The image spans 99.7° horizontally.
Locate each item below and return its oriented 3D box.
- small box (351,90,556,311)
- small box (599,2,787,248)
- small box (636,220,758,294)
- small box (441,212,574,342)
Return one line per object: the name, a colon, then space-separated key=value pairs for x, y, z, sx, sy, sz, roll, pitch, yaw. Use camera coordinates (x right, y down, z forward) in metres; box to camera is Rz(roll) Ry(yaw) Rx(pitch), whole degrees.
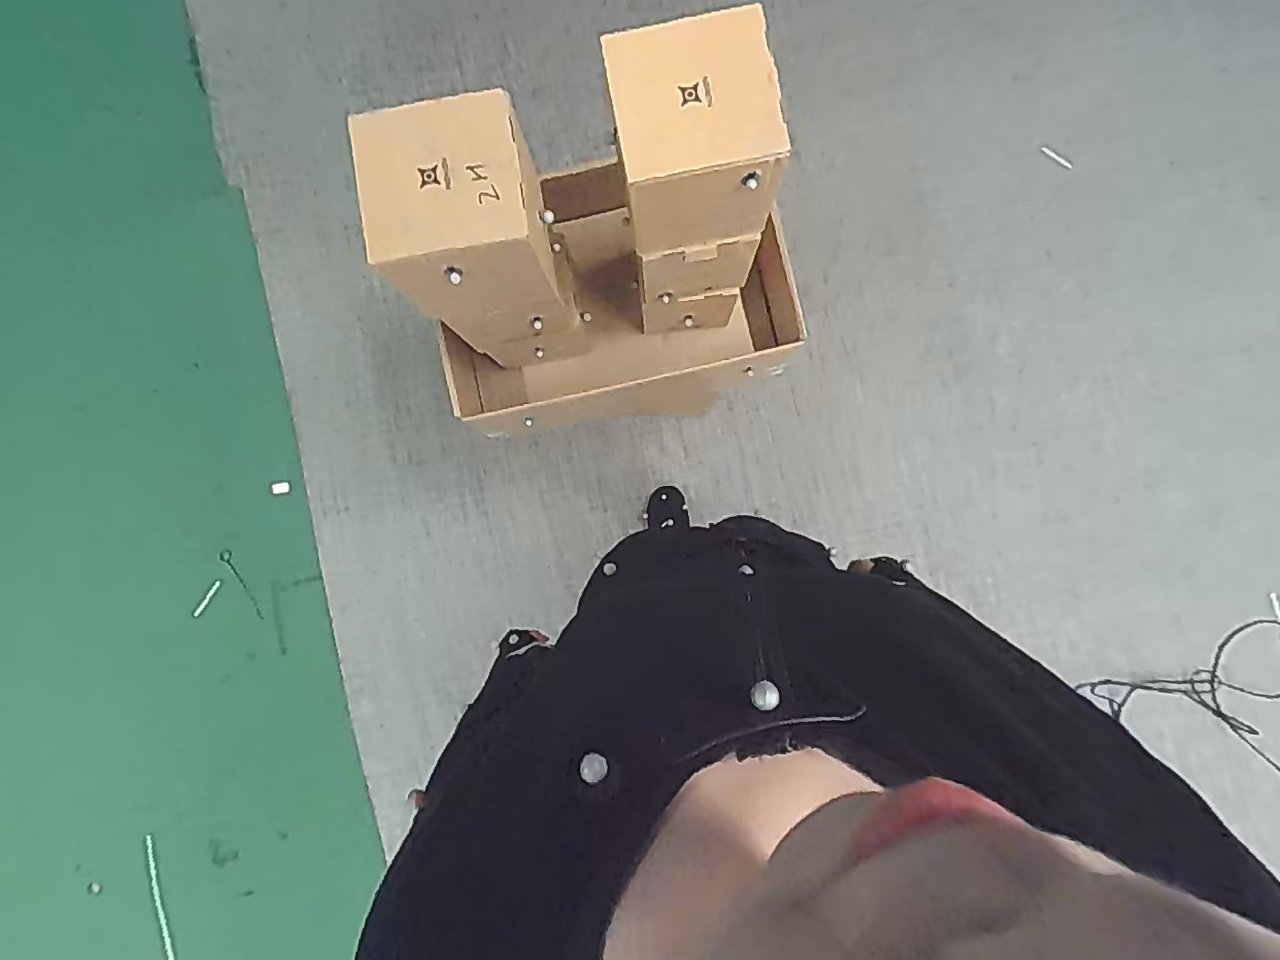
small box: x=-0.212 y=-0.320 z=0.654 sx=0.179 sy=0.176 sz=0.168 roll=-9 pitch=88 yaw=2
small box: x=0.059 y=-0.403 z=0.645 sx=0.179 sy=0.176 sz=0.168 roll=-11 pitch=87 yaw=2
small box: x=0.072 y=-0.395 z=0.808 sx=0.168 sy=0.176 sz=0.179 roll=-10 pitch=87 yaw=3
small box: x=-0.204 y=-0.321 z=0.819 sx=0.168 sy=0.176 sz=0.179 roll=-12 pitch=87 yaw=2
